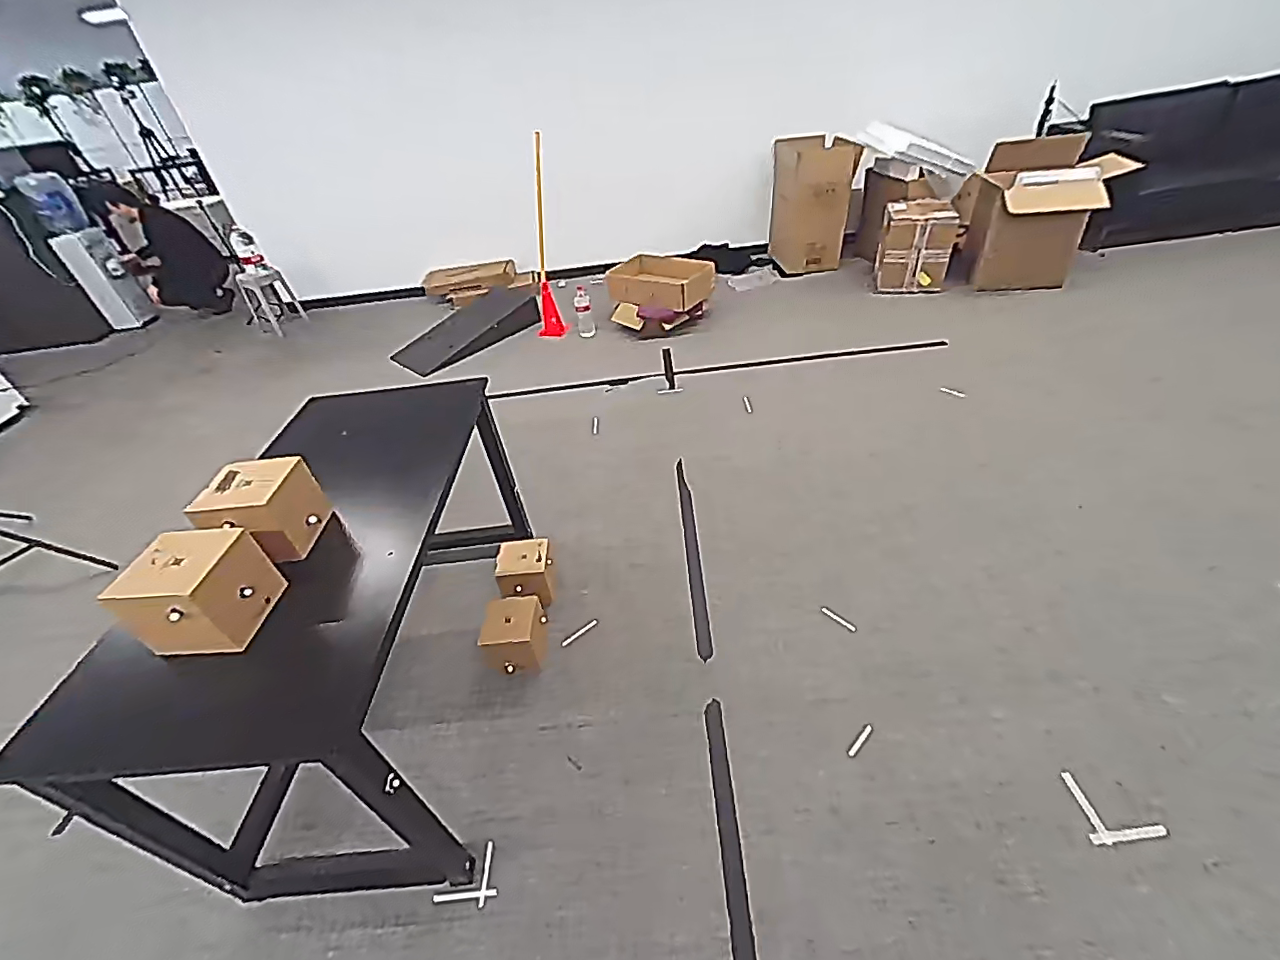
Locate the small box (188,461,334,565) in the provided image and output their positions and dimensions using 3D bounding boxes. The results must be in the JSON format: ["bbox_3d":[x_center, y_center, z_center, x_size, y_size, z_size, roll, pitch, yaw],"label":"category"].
[{"bbox_3d":[-0.832,0.078,1.209,0.179,0.176,0.168,-6,39,2],"label":"small box"}]

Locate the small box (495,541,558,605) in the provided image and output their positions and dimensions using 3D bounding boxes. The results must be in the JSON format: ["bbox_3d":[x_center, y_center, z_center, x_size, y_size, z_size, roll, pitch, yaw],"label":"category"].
[{"bbox_3d":[-0.407,0.346,1.968,0.179,0.176,0.168,-7,39,2],"label":"small box"}]

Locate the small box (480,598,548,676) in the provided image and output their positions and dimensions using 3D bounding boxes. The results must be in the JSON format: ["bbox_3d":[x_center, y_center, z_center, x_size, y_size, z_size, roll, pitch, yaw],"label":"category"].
[{"bbox_3d":[-0.404,0.512,1.765,0.168,0.176,0.179,-7,40,3],"label":"small box"}]

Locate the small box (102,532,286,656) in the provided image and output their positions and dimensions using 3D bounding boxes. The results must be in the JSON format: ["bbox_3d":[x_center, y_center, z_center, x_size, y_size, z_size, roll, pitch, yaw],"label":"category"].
[{"bbox_3d":[-0.831,0.219,1.034,0.179,0.176,0.168,-4,38,5],"label":"small box"}]
